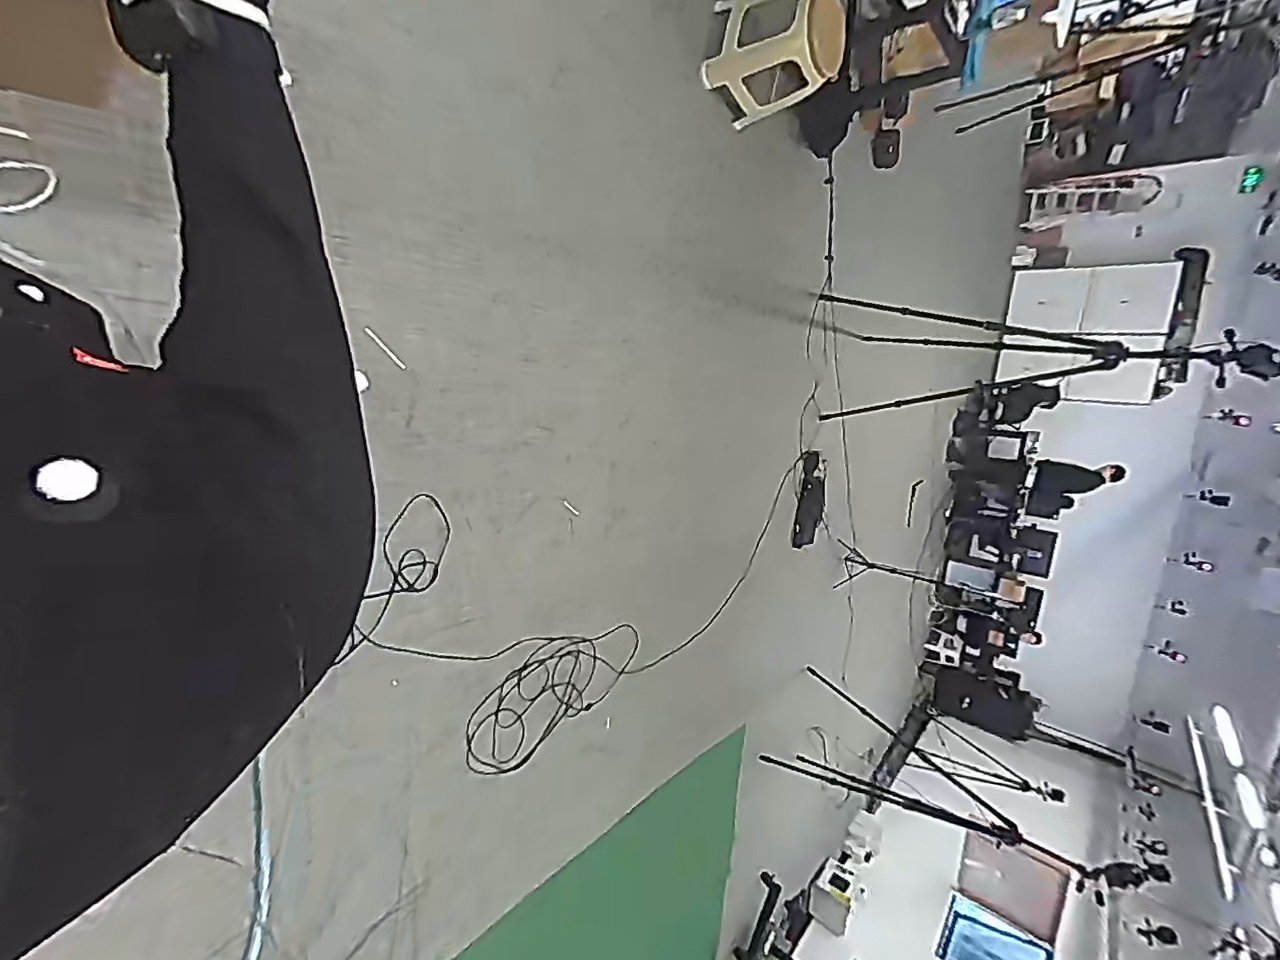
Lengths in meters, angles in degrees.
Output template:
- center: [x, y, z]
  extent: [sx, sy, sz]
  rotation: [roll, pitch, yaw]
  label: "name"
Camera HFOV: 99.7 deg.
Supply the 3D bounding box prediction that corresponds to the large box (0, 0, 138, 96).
- center: [-0.580, -0.482, 0.287]
  extent: [0.408, 0.320, 0.320]
  rotation: [-17, 111, -47]
  label: "large box"
